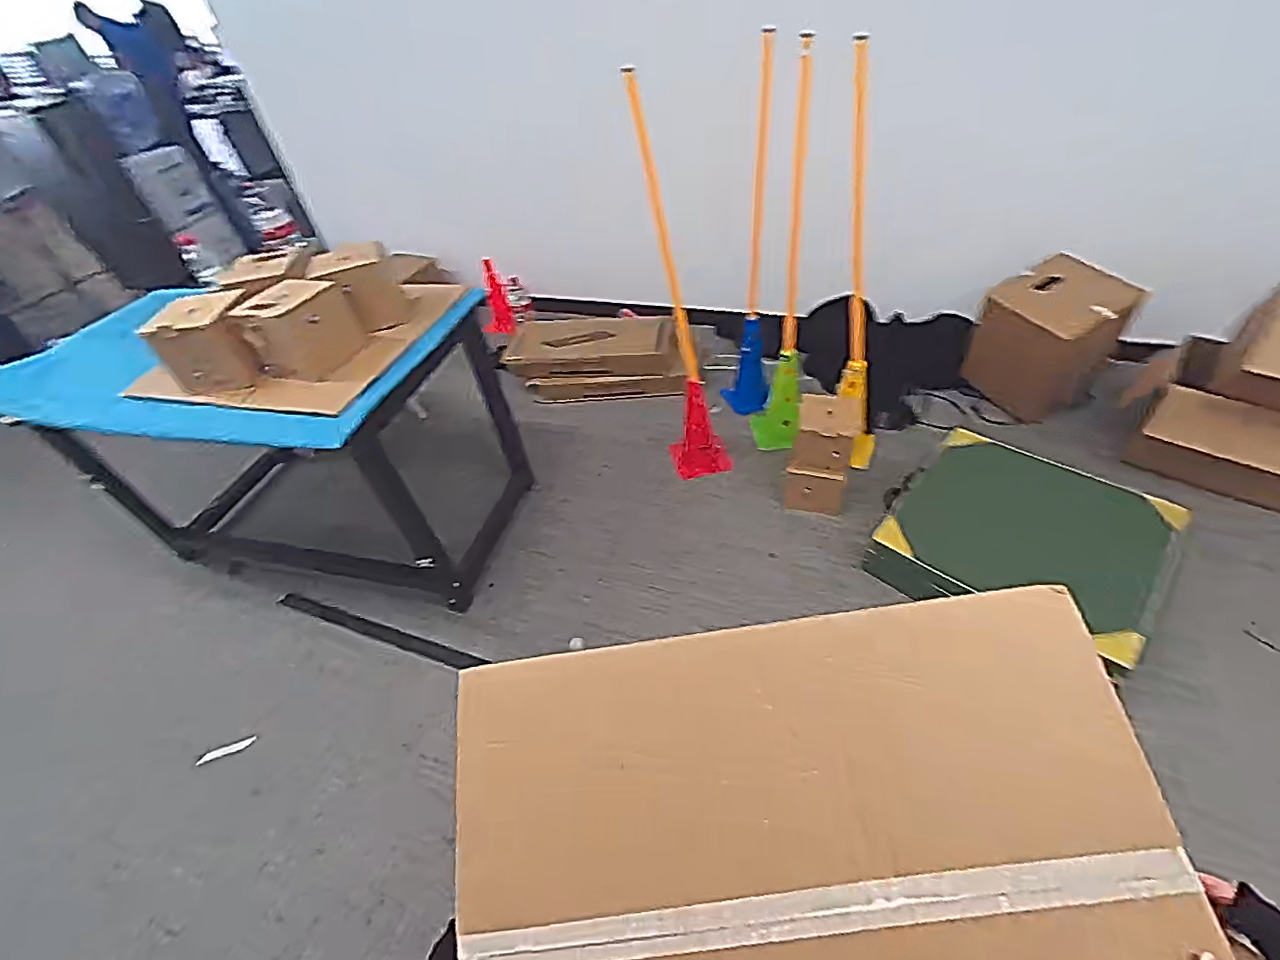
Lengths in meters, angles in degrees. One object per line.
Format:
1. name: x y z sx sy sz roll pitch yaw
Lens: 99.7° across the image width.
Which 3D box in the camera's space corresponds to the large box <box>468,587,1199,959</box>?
1. large box: 0.109 0.302 0.450 0.408 0.320 0.320 -9 68 3
